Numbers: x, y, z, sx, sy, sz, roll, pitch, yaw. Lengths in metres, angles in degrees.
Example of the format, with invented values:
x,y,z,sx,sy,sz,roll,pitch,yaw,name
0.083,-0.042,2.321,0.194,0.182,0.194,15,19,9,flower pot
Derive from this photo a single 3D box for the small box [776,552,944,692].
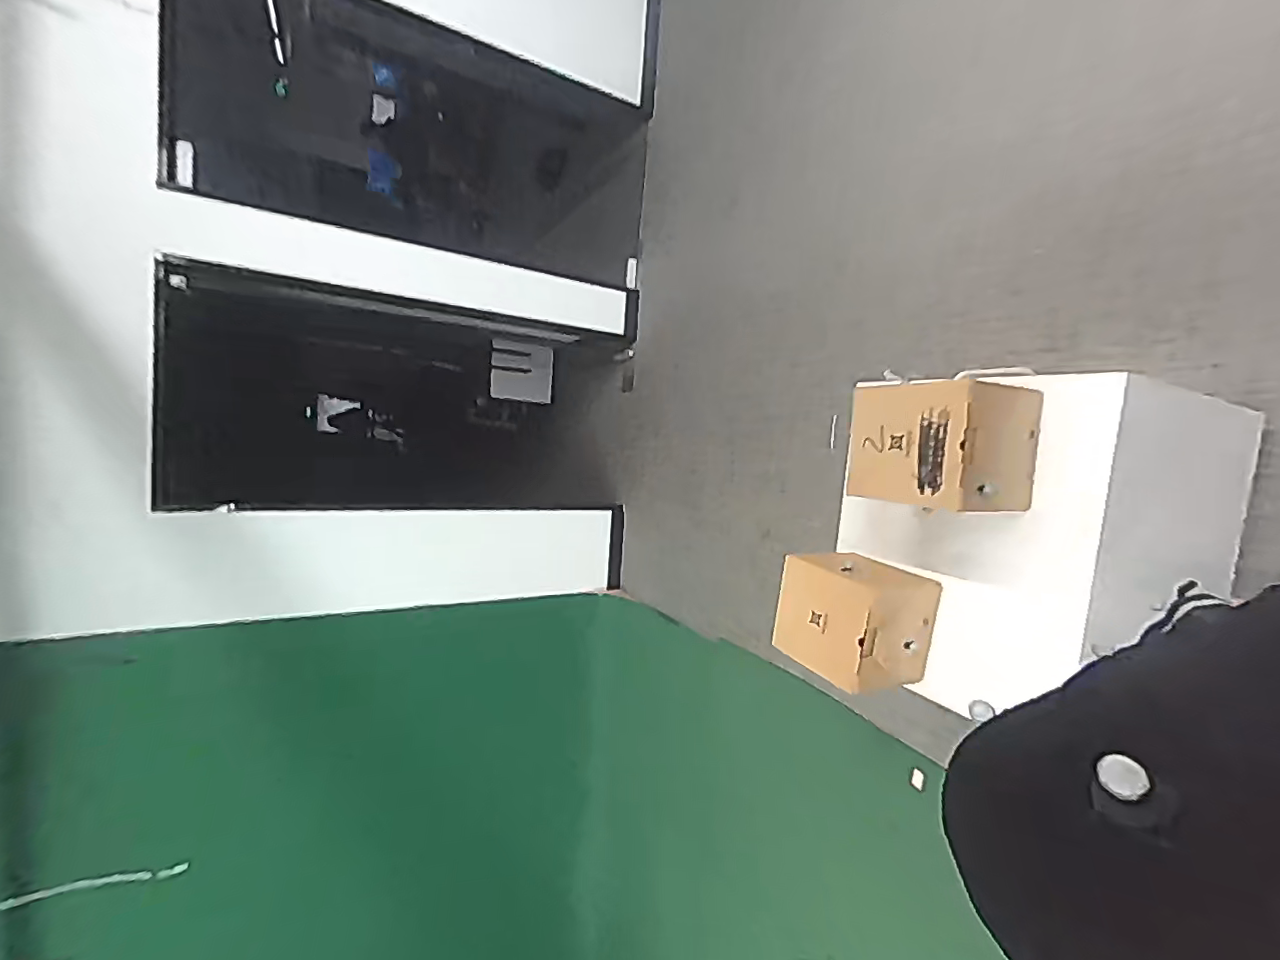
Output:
x,y,z,sx,sy,sz,roll,pitch,yaw,name
0.357,0.222,0.888,0.179,0.176,0.168,19,104,59,small box
